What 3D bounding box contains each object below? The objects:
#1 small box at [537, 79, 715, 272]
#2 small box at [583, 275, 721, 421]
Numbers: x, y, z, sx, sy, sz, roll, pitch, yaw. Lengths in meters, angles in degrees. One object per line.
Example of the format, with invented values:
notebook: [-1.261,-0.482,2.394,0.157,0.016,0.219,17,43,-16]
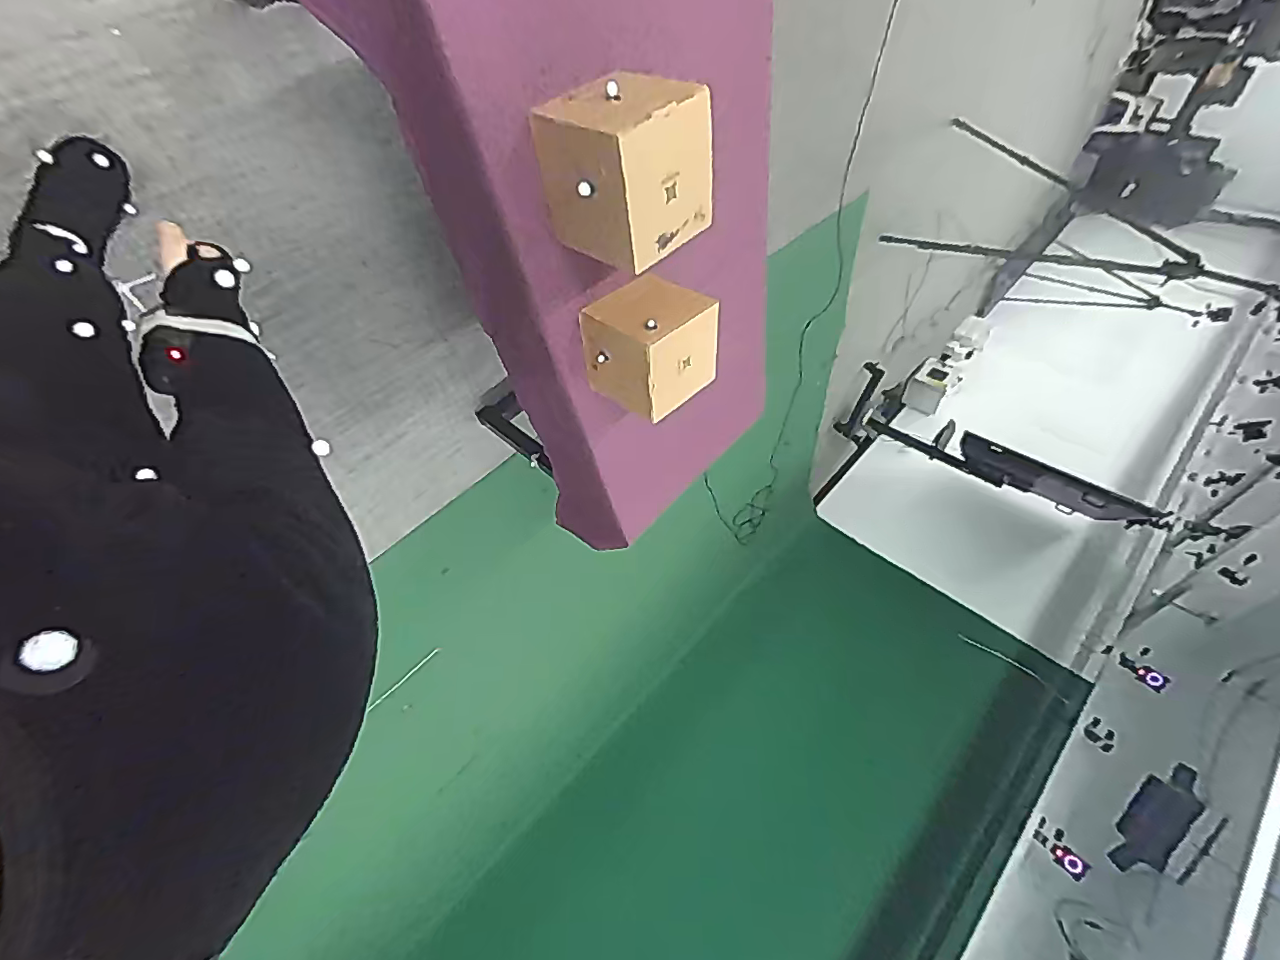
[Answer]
small box: [-0.016,-0.422,0.739,0.168,0.176,0.179,-41,147,-22]
small box: [0.022,-0.244,0.975,0.179,0.176,0.168,-38,146,-26]
